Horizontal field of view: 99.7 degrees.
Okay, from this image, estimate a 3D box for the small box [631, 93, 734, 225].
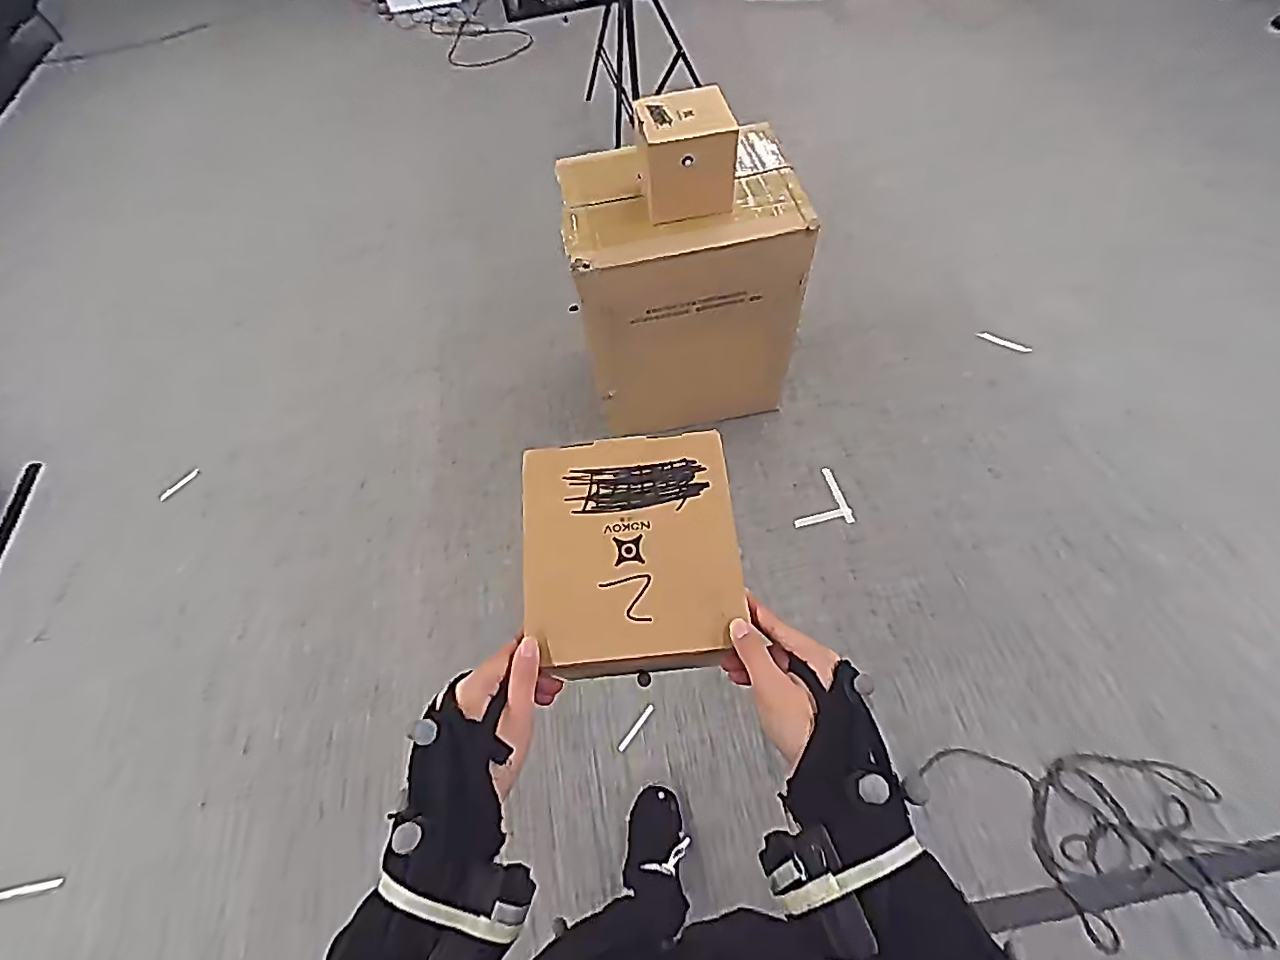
[{"bbox_3d":[0.086,-0.653,1.113,0.179,0.176,0.168,-11,60,-2],"label":"small box"}]
